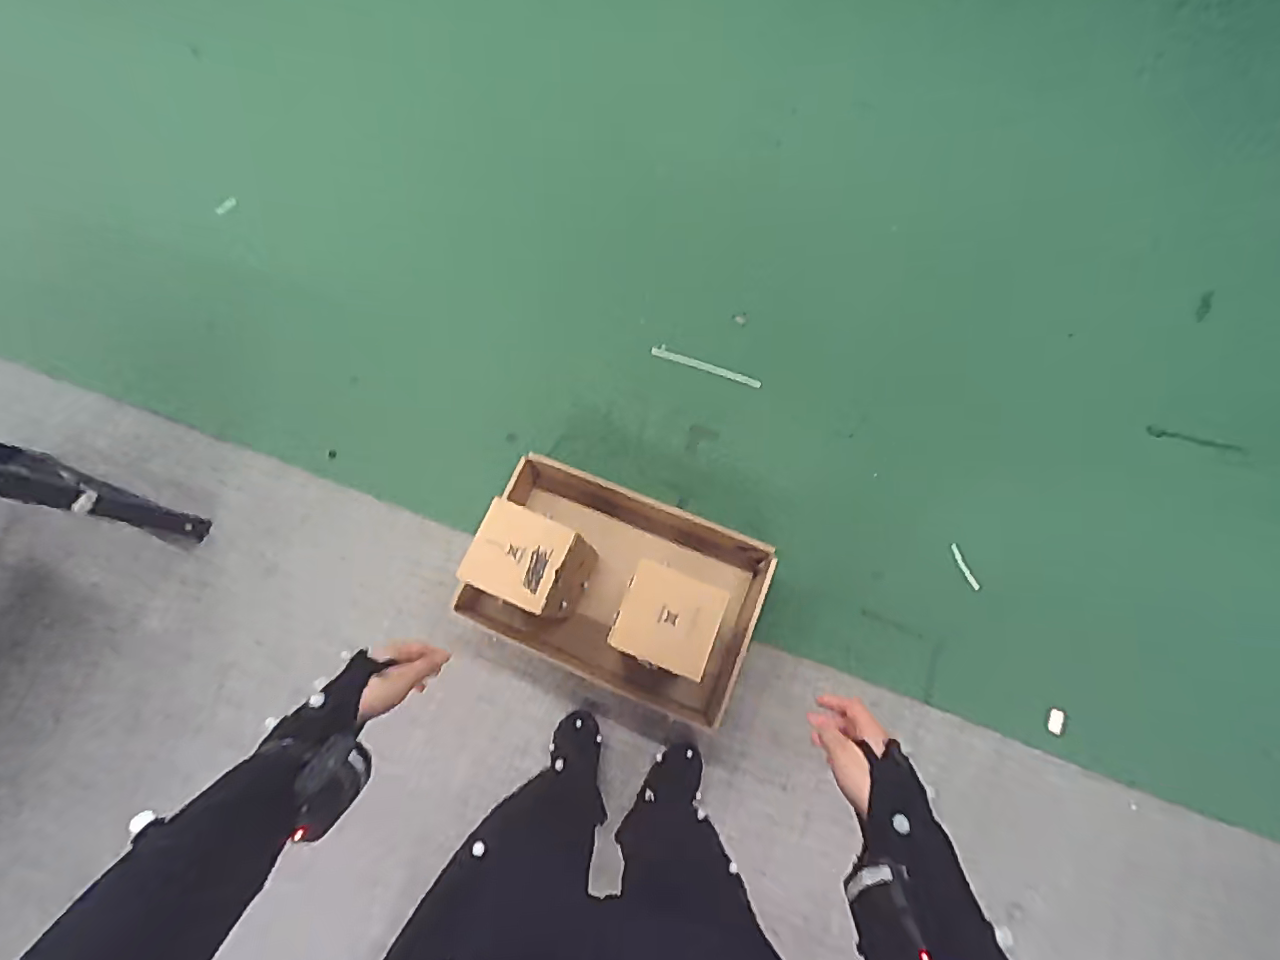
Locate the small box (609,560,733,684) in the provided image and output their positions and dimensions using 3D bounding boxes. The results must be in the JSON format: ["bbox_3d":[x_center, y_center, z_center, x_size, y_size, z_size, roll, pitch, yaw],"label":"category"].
[{"bbox_3d":[0.058,0.266,1.018,0.179,0.176,0.168,20,77,8],"label":"small box"}]

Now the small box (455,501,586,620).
[{"bbox_3d":[-0.220,0.162,1.056,0.179,0.176,0.168,22,76,9],"label":"small box"}]
